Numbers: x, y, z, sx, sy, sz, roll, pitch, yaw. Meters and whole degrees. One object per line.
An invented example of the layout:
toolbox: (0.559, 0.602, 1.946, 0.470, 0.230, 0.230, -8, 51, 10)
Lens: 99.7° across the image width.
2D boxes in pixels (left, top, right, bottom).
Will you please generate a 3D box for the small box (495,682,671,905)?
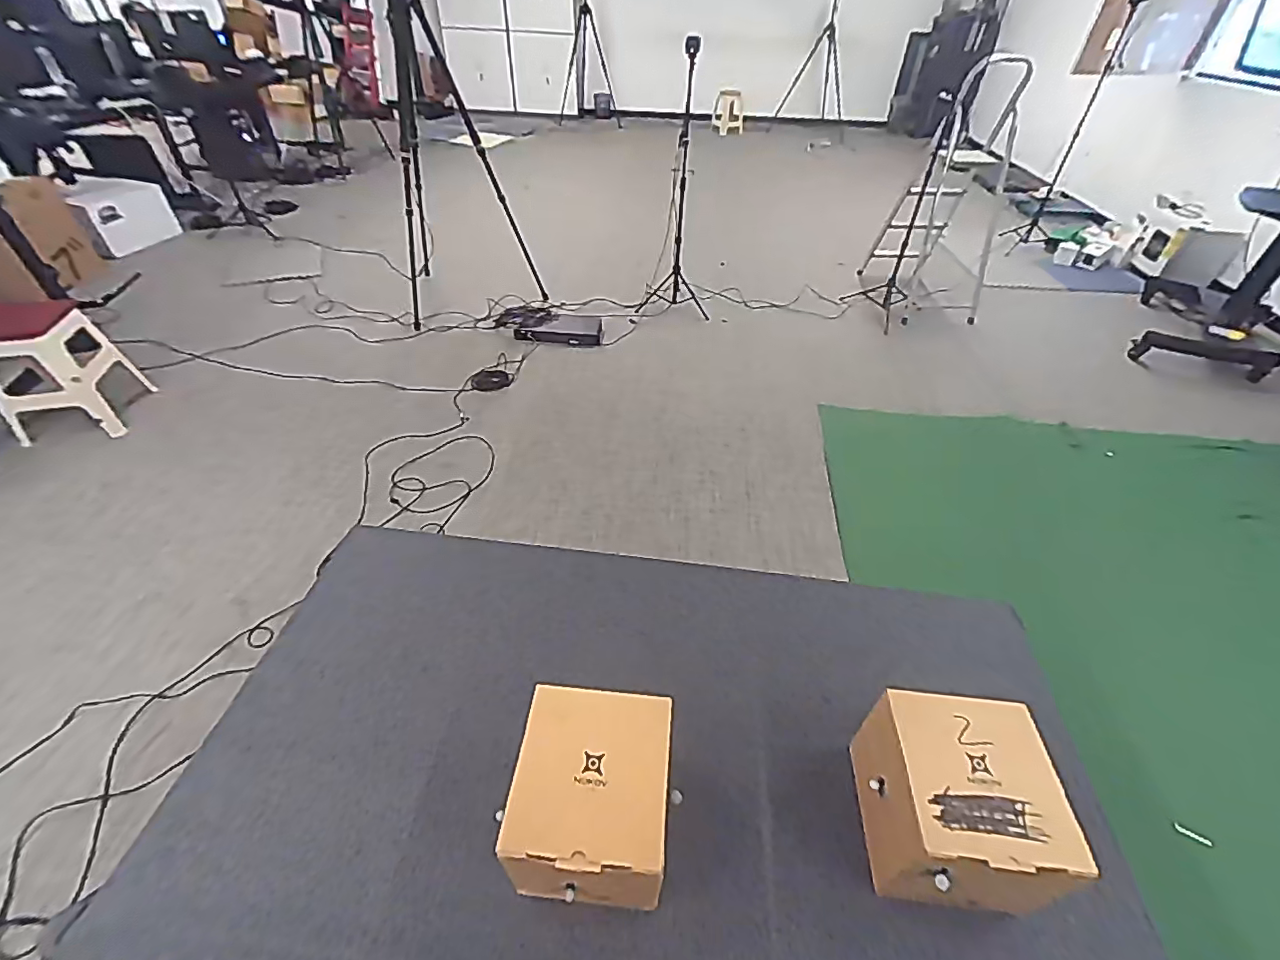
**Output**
small box: (-0.058, 0.367, 0.636, 0.168, 0.176, 0.179, 6, 43, 2)
